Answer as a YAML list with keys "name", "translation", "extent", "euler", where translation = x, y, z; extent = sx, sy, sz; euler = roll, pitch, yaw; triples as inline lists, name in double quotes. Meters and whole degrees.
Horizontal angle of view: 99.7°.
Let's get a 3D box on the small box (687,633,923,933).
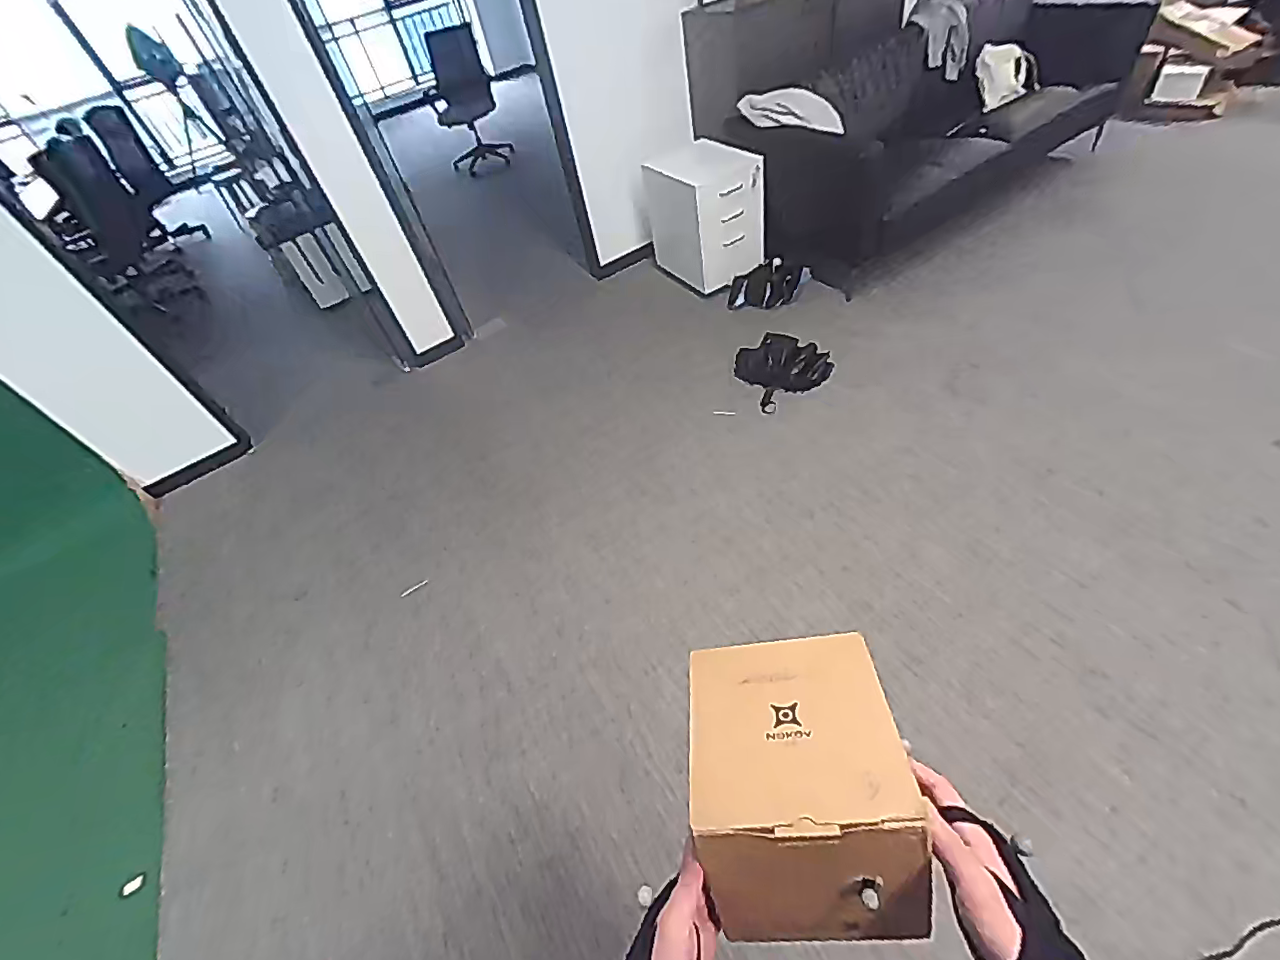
- name: "small box"
  translation: [0.139, 0.268, 0.484]
  extent: [0.168, 0.176, 0.179]
  euler: [-9, 27, 10]
